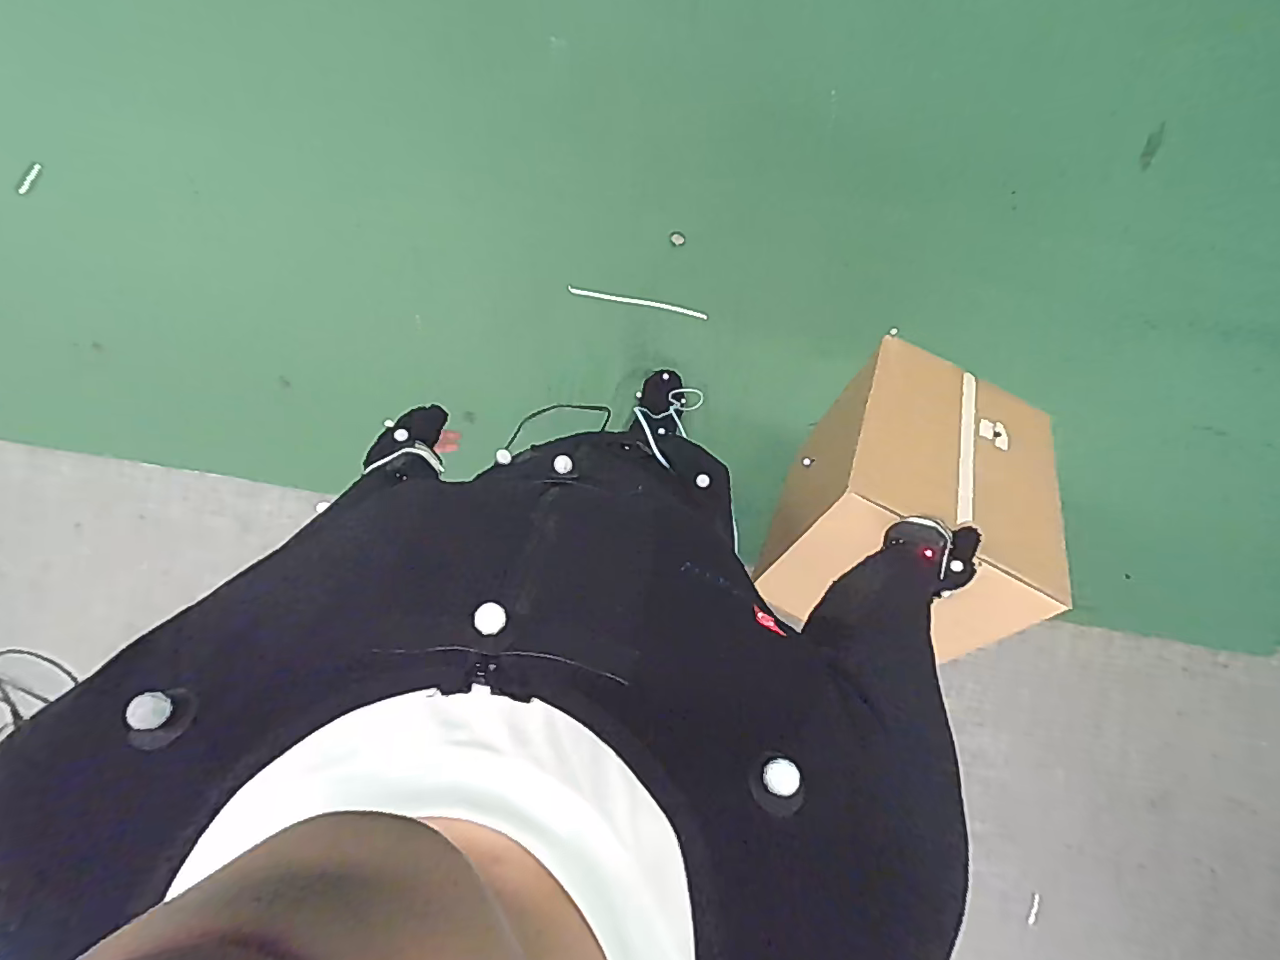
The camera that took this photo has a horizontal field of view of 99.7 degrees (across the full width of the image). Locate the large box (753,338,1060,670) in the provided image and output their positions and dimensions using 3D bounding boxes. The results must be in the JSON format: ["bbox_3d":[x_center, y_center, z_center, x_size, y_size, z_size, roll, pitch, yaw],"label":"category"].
[{"bbox_3d":[0.435,0.040,0.929,0.320,0.320,0.408,29,51,2],"label":"large box"}]
